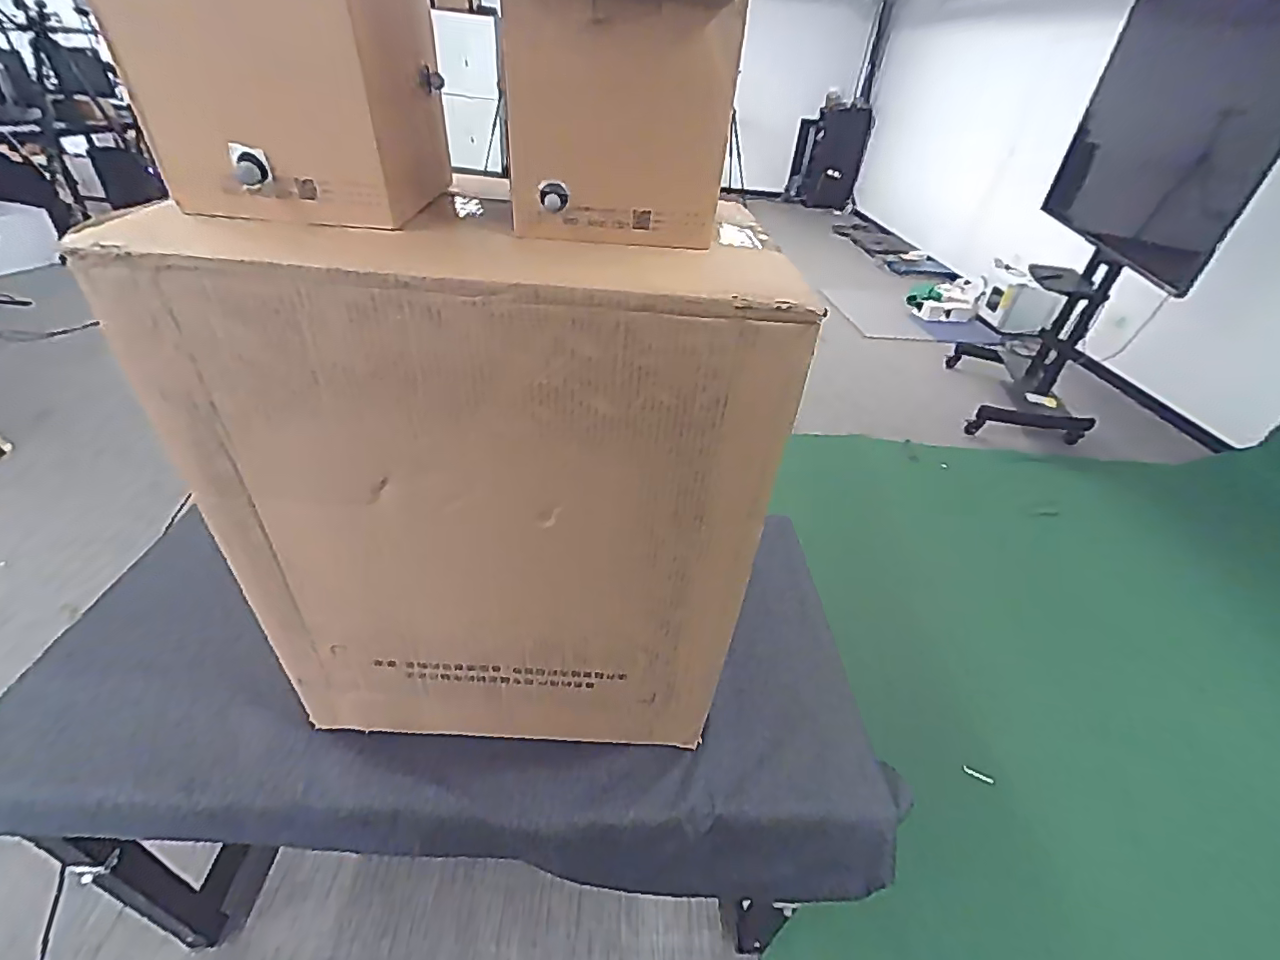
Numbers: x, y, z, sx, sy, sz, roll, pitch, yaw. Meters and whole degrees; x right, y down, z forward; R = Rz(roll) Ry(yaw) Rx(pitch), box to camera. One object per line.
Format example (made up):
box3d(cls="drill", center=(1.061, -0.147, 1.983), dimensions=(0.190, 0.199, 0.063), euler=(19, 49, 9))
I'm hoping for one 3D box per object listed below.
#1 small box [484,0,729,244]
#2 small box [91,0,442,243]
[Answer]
box3d(cls="small box", center=(-0.031, -0.311, 0.462), dimensions=(0.168, 0.176, 0.179), euler=(-1, 38, -7))
box3d(cls="small box", center=(-0.271, -0.307, 0.435), dimensions=(0.168, 0.176, 0.179), euler=(0, 41, -3))
